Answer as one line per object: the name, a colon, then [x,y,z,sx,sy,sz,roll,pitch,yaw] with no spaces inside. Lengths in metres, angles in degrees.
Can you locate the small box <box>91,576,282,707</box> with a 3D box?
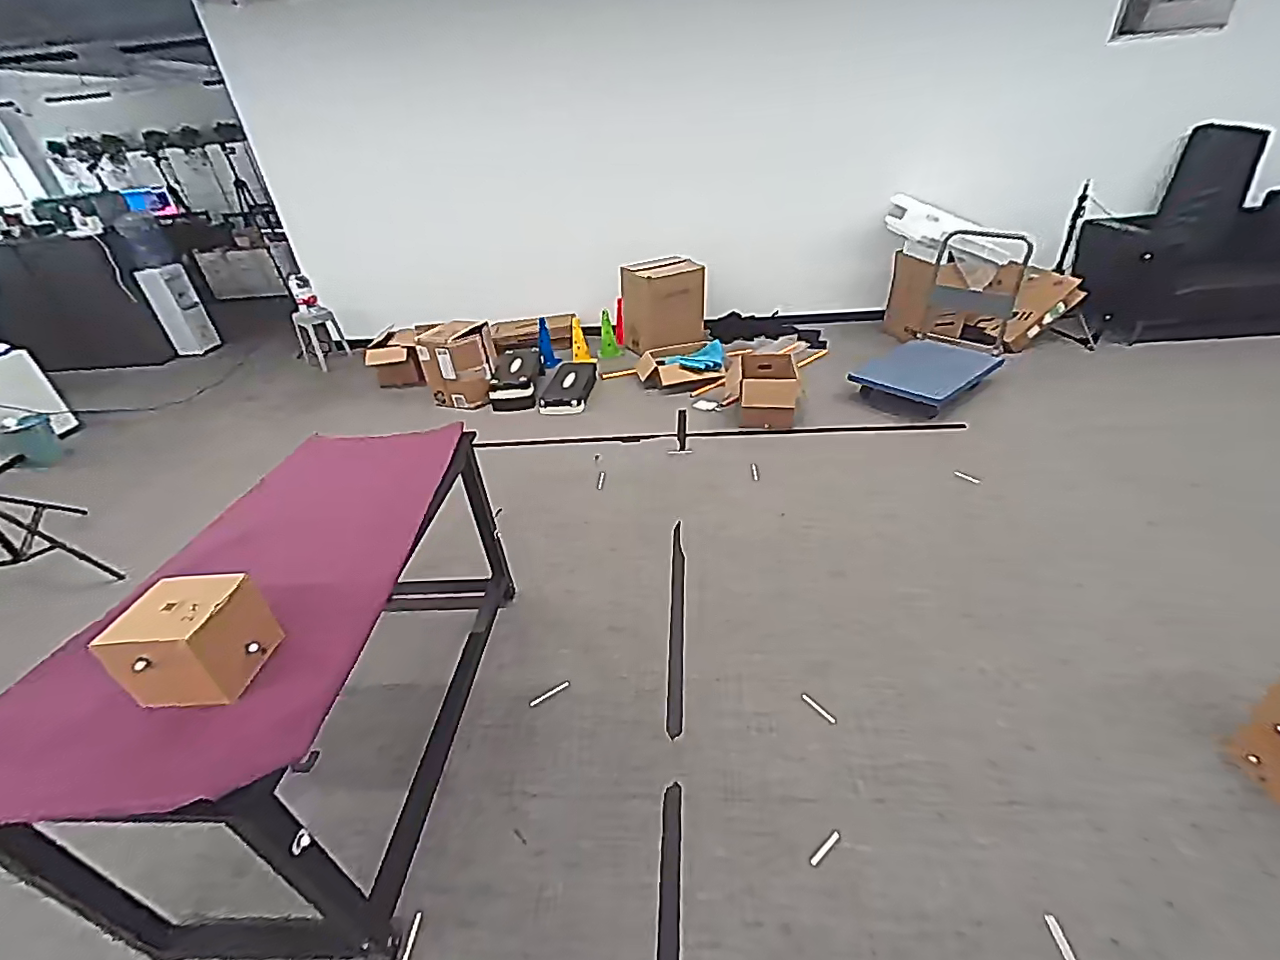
small box: [-0.816,0.297,0.995,0.179,0.176,0.168,-3,32,3]

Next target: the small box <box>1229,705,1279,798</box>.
small box: [1.697,0.696,1.382,0.179,0.176,0.168,-5,33,1]
